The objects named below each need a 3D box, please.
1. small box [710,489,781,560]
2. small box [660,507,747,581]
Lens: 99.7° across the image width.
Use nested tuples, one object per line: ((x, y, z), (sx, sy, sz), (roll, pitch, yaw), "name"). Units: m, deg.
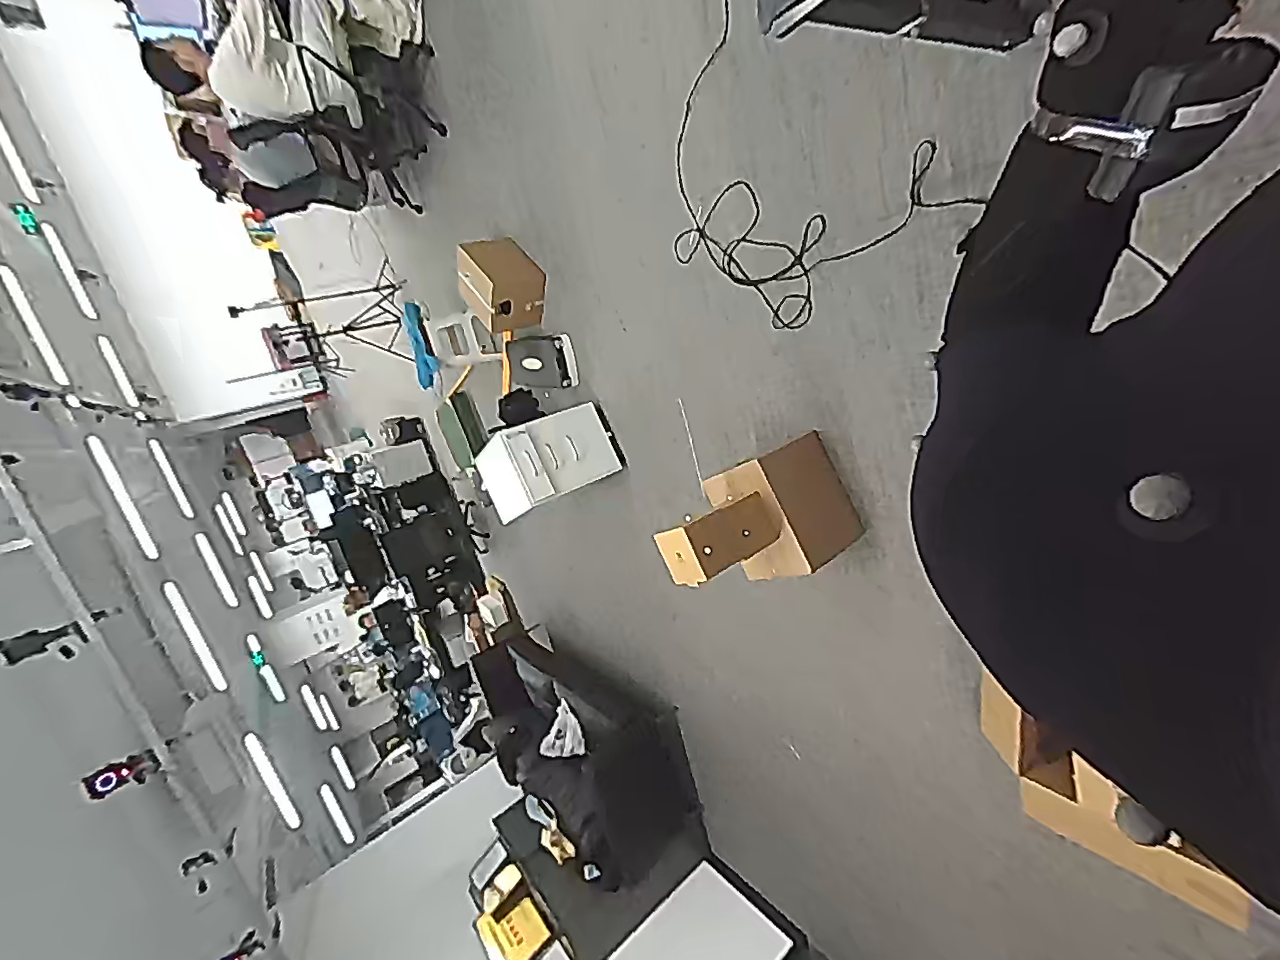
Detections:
((0.328, 0.150, 1.769), (0.168, 0.176, 0.179), (-26, 88, 57), "small box")
((0.198, 0.194, 1.682), (0.168, 0.176, 0.179), (-25, 90, 57), "small box")
